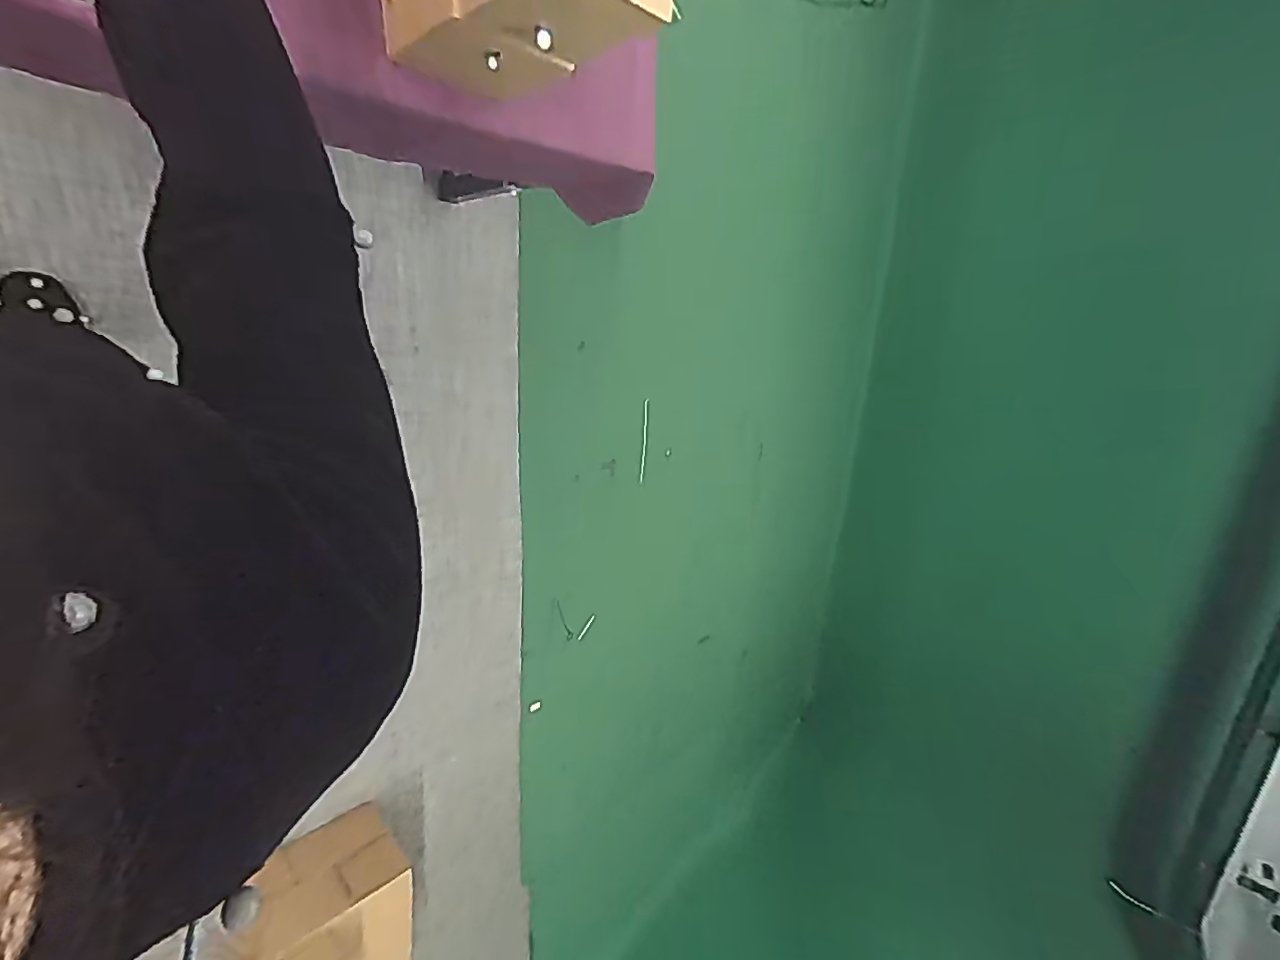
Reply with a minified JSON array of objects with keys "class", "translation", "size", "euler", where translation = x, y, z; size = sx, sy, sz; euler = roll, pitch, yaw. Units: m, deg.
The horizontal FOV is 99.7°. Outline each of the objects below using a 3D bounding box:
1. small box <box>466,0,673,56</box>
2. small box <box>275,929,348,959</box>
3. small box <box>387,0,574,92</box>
[{"class":"small box","translation":[-0.079,-0.585,0.559],"size":[0.168,0.176,0.179],"euler":[-19,117,-44]},{"class":"small box","translation":[-0.785,1.236,1.281],"size":[0.168,0.176,0.179],"euler":[-6,109,-47]},{"class":"small box","translation":[-0.200,-0.613,0.667],"size":[0.179,0.176,0.168],"euler":[-16,114,-45]}]
